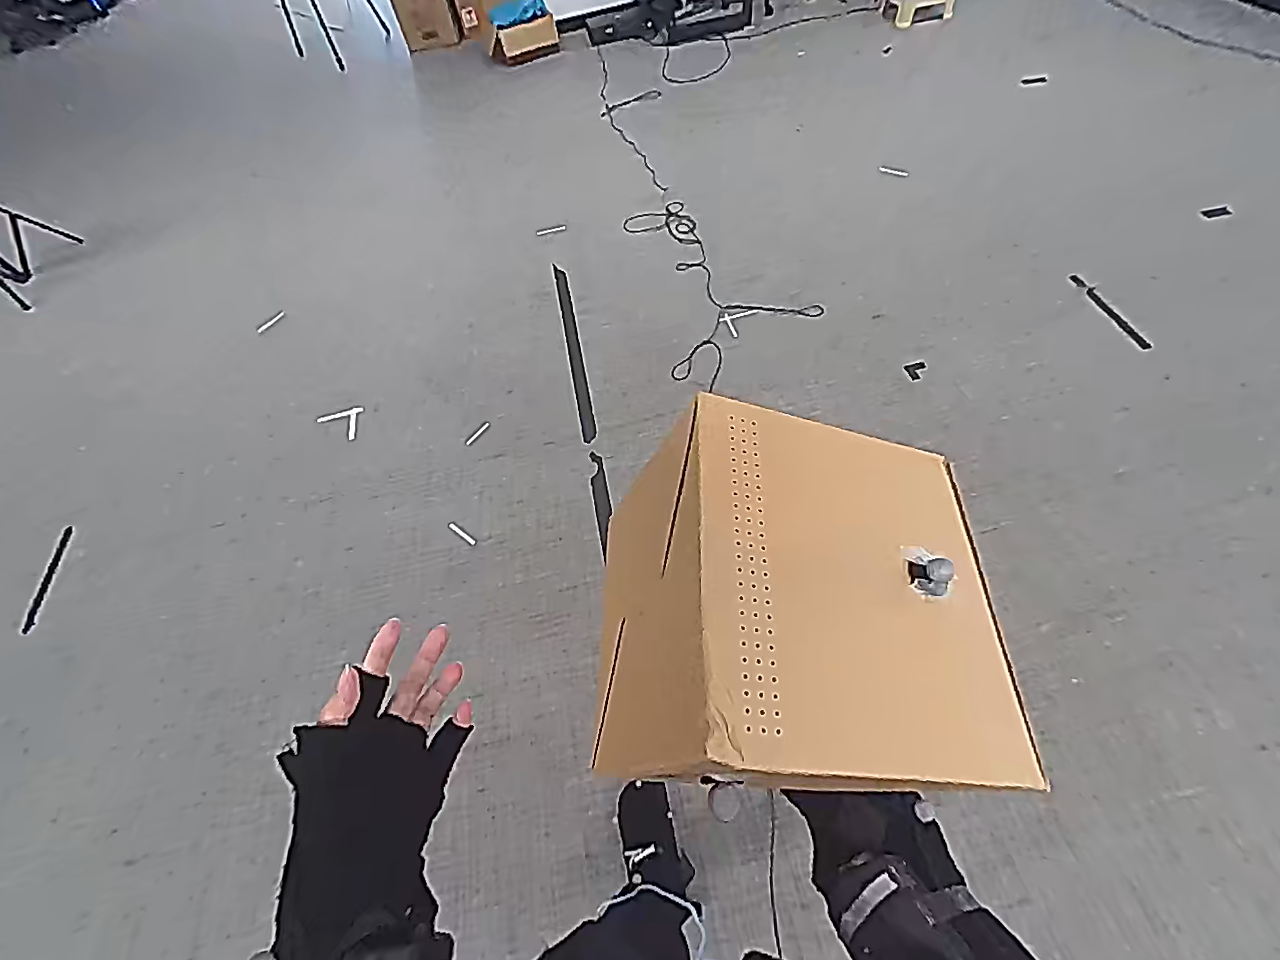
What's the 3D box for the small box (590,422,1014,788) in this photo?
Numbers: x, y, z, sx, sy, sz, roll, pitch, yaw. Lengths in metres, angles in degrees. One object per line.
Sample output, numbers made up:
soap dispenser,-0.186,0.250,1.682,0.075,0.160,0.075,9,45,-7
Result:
small box,0.073,0.087,0.336,0.176,0.168,0.179,12,58,-14
